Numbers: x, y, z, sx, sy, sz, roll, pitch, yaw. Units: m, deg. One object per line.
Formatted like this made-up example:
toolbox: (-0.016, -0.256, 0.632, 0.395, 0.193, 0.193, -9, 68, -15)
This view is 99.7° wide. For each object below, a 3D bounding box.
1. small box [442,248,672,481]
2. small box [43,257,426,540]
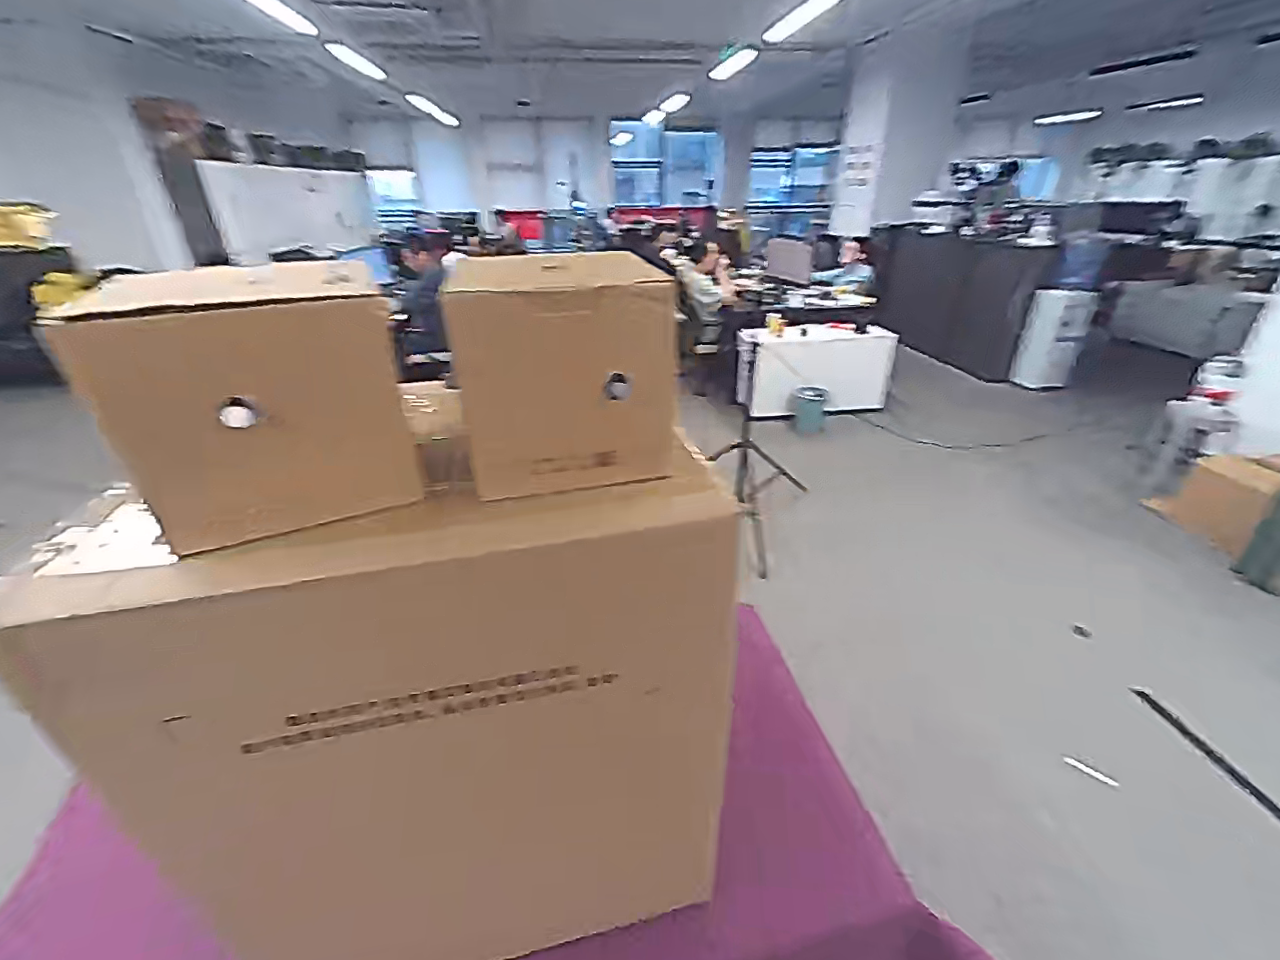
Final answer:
small box: (-0.072, -0.107, 0.485, 0.168, 0.176, 0.179, -7, 29, -13)
small box: (-0.287, -0.074, 0.430, 0.179, 0.176, 0.168, -14, 33, -24)
